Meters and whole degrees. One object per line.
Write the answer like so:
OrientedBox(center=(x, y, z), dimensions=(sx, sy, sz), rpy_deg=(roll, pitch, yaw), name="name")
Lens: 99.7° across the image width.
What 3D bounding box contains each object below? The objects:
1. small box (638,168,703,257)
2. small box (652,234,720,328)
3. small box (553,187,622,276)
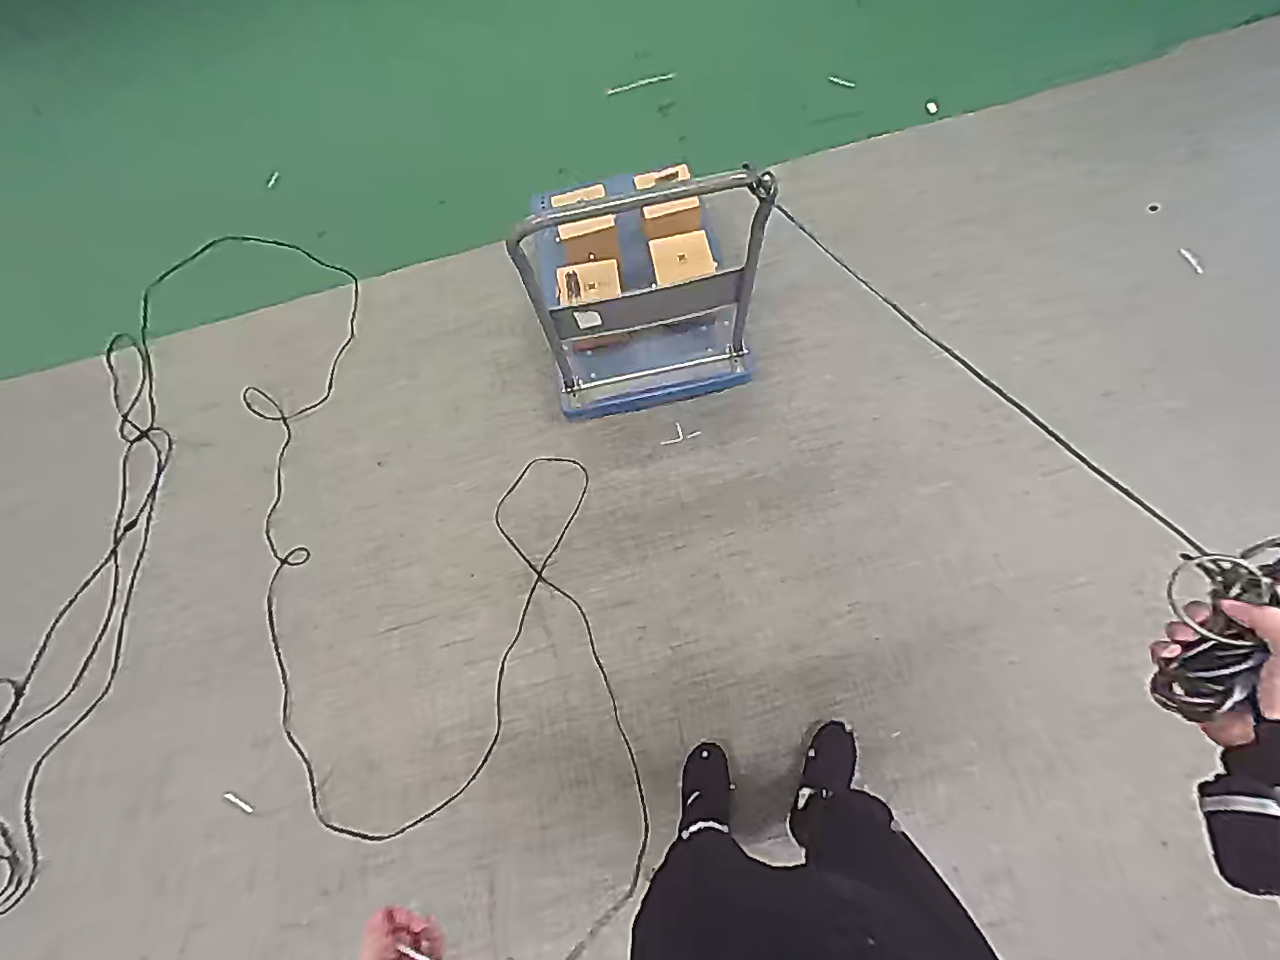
OrientedBox(center=(0.093, -0.815, 1.669), dimensions=(0.168, 0.176, 0.179), rpy_deg=(-13, 70, 1), name="small box")
OrientedBox(center=(0.132, -0.576, 1.577), dimensions=(0.168, 0.176, 0.179), rpy_deg=(-11, 69, 1), name="small box")
OrientedBox(center=(-0.157, -0.758, 1.672), dimensions=(0.168, 0.176, 0.179), rpy_deg=(-14, 69, -1), name="small box")
